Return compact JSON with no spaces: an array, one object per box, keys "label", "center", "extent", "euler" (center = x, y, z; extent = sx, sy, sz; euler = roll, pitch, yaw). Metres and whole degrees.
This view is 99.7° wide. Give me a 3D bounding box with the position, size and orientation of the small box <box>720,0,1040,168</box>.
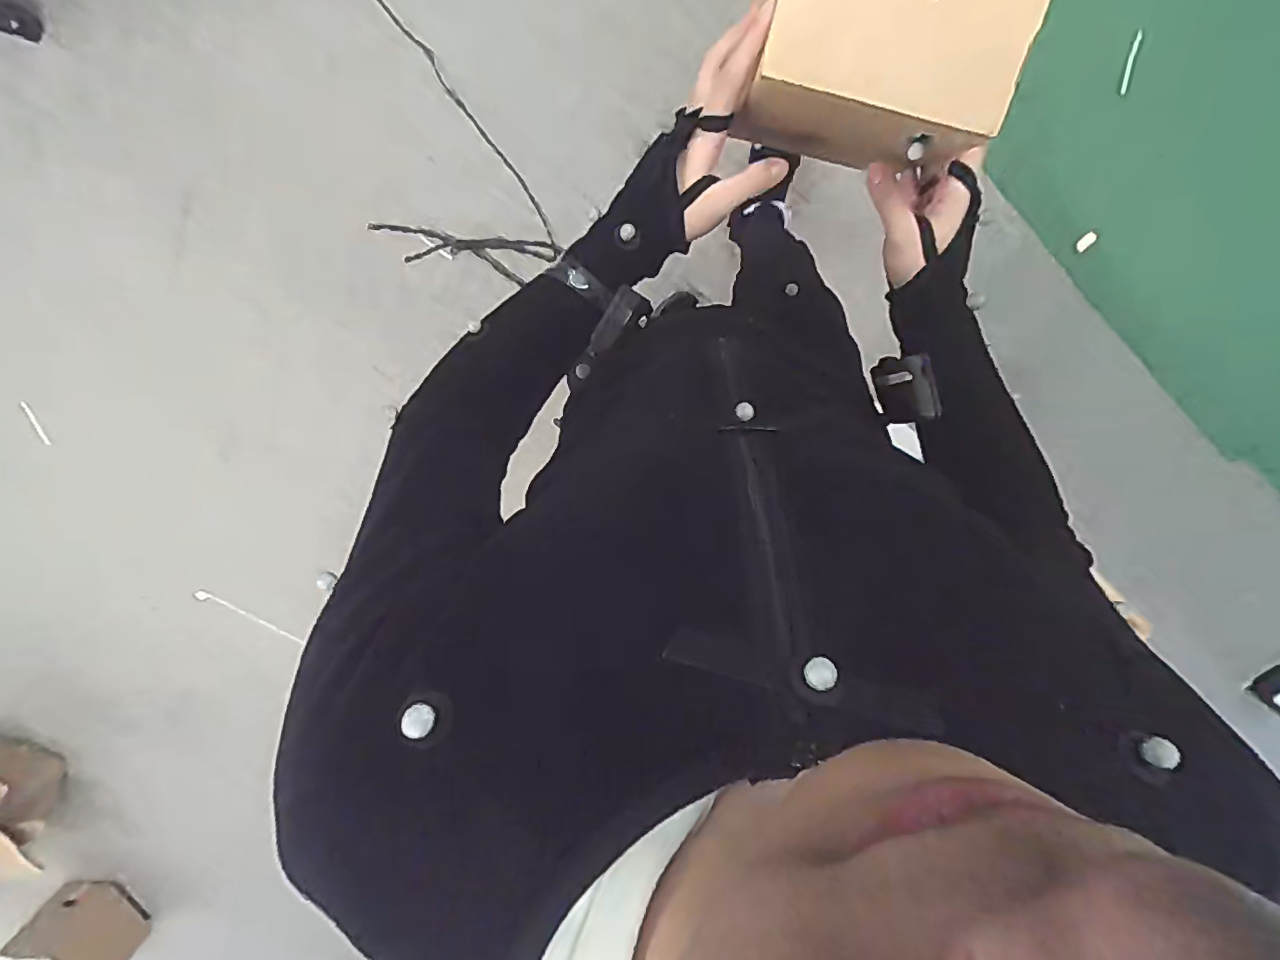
[{"label":"small box","center":[0.172,-0.357,0.413],"extent":[0.179,0.176,0.168],"euler":[10,111,-7]}]
